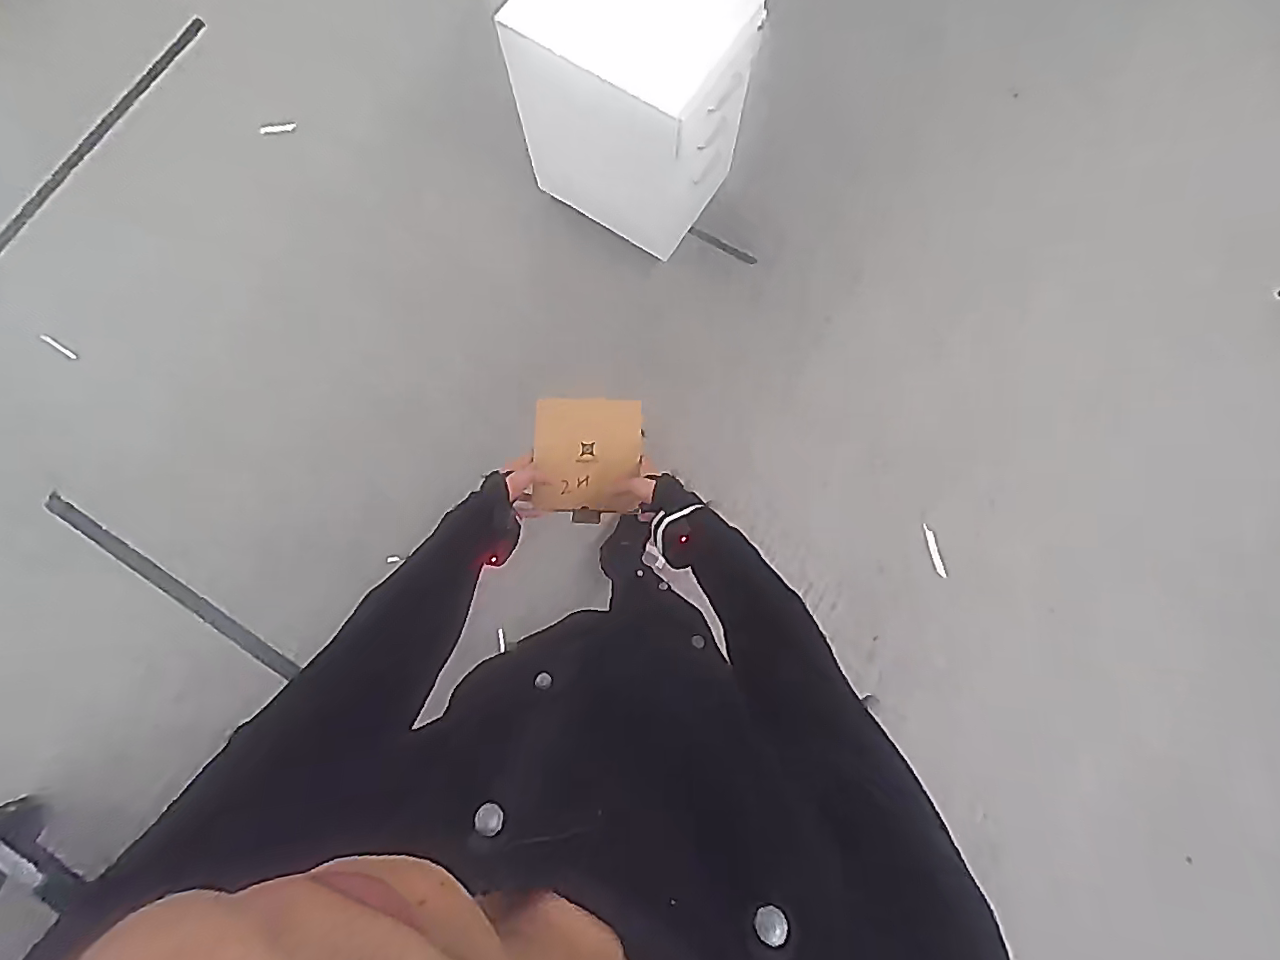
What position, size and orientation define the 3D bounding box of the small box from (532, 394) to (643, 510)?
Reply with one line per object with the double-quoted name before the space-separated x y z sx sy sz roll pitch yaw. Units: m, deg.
"small box" -0.080 -0.040 0.907 0.168 0.176 0.179 1 87 2
